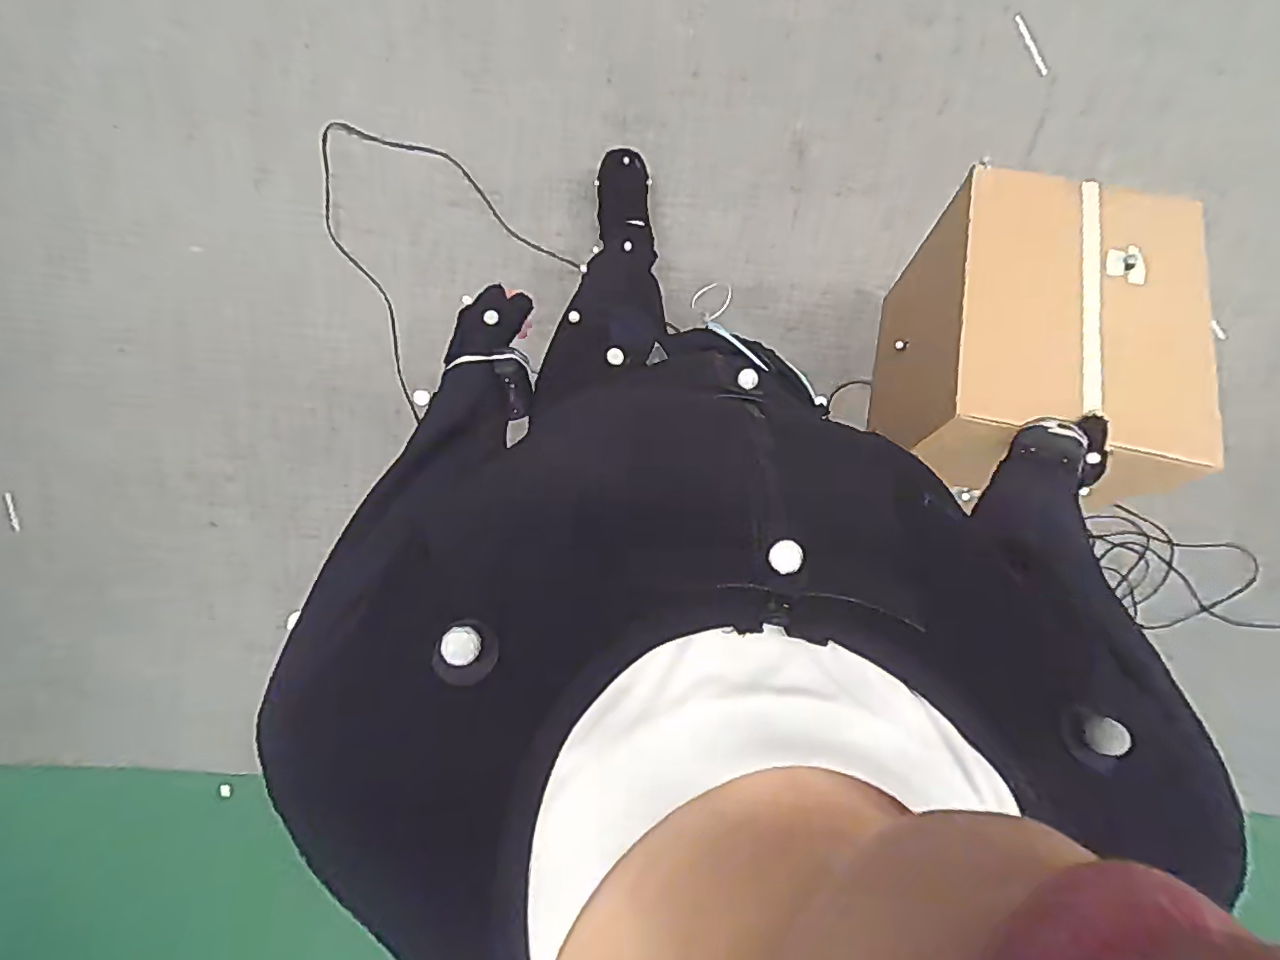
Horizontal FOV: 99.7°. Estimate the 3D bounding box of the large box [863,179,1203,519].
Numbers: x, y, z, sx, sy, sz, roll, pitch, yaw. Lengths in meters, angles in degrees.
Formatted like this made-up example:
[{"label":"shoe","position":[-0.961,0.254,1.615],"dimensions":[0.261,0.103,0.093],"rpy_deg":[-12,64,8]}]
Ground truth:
[{"label":"large box","position":[0.580,-0.185,0.868],"dimensions":[0.320,0.320,0.408],"rpy_deg":[13,73,4]}]
